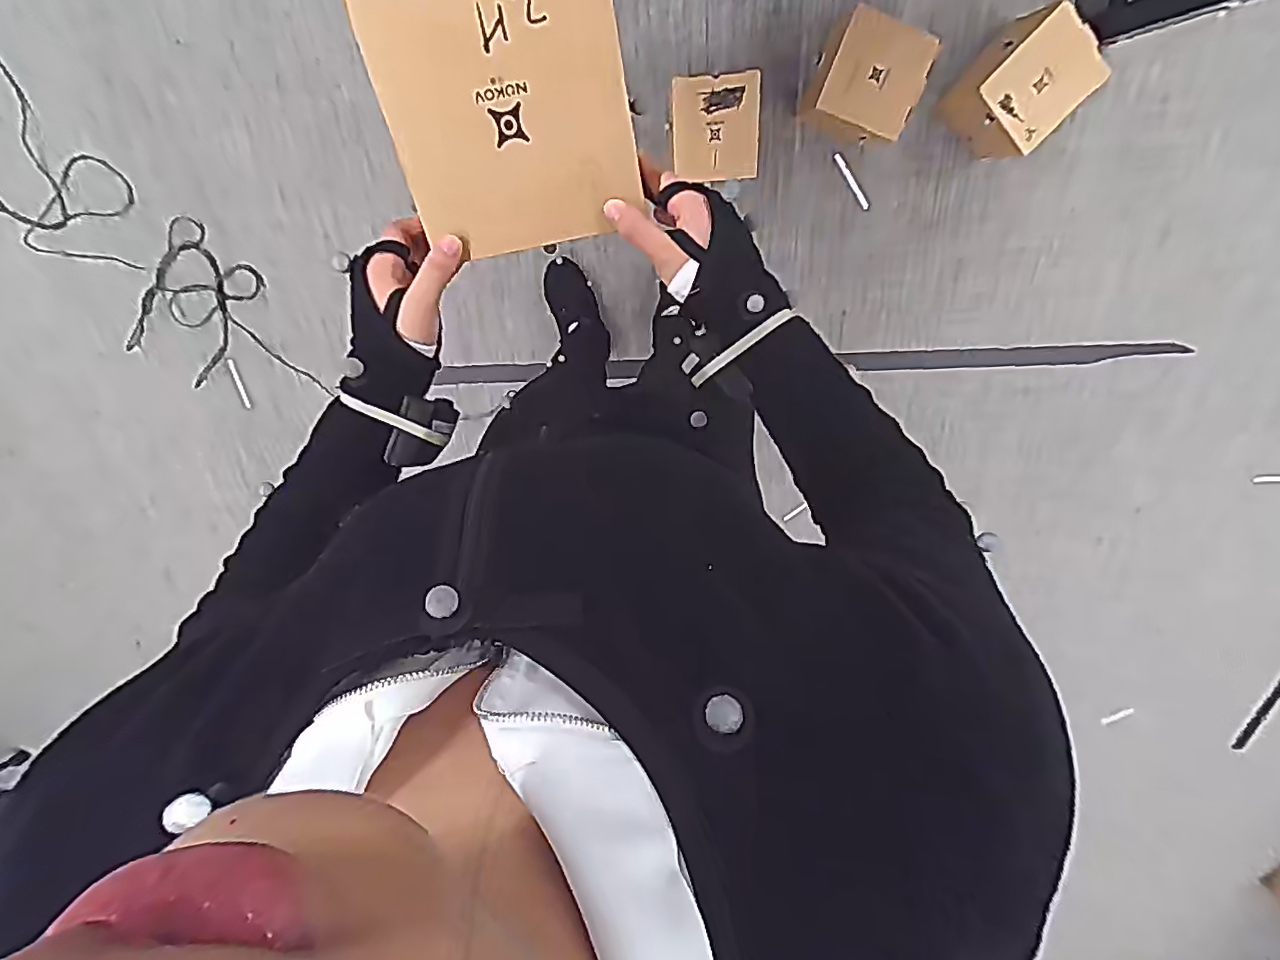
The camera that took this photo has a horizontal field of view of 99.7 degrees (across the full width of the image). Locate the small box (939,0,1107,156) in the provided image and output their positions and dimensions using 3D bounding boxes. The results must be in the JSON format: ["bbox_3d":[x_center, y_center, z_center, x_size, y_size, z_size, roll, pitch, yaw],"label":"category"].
[{"bbox_3d":[0.736,-0.773,1.059,0.168,0.176,0.179,37,113,-17],"label":"small box"}]

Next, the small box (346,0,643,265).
[{"bbox_3d":[-0.092,-0.291,0.434,0.168,0.176,0.179,-10,120,3],"label":"small box"}]

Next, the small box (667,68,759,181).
[{"bbox_3d":[0.142,-0.714,1.103,0.168,0.176,0.179,-3,120,3],"label":"small box"}]

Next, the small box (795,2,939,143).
[{"bbox_3d":[0.433,-0.783,1.062,0.179,0.176,0.168,17,117,-7],"label":"small box"}]
